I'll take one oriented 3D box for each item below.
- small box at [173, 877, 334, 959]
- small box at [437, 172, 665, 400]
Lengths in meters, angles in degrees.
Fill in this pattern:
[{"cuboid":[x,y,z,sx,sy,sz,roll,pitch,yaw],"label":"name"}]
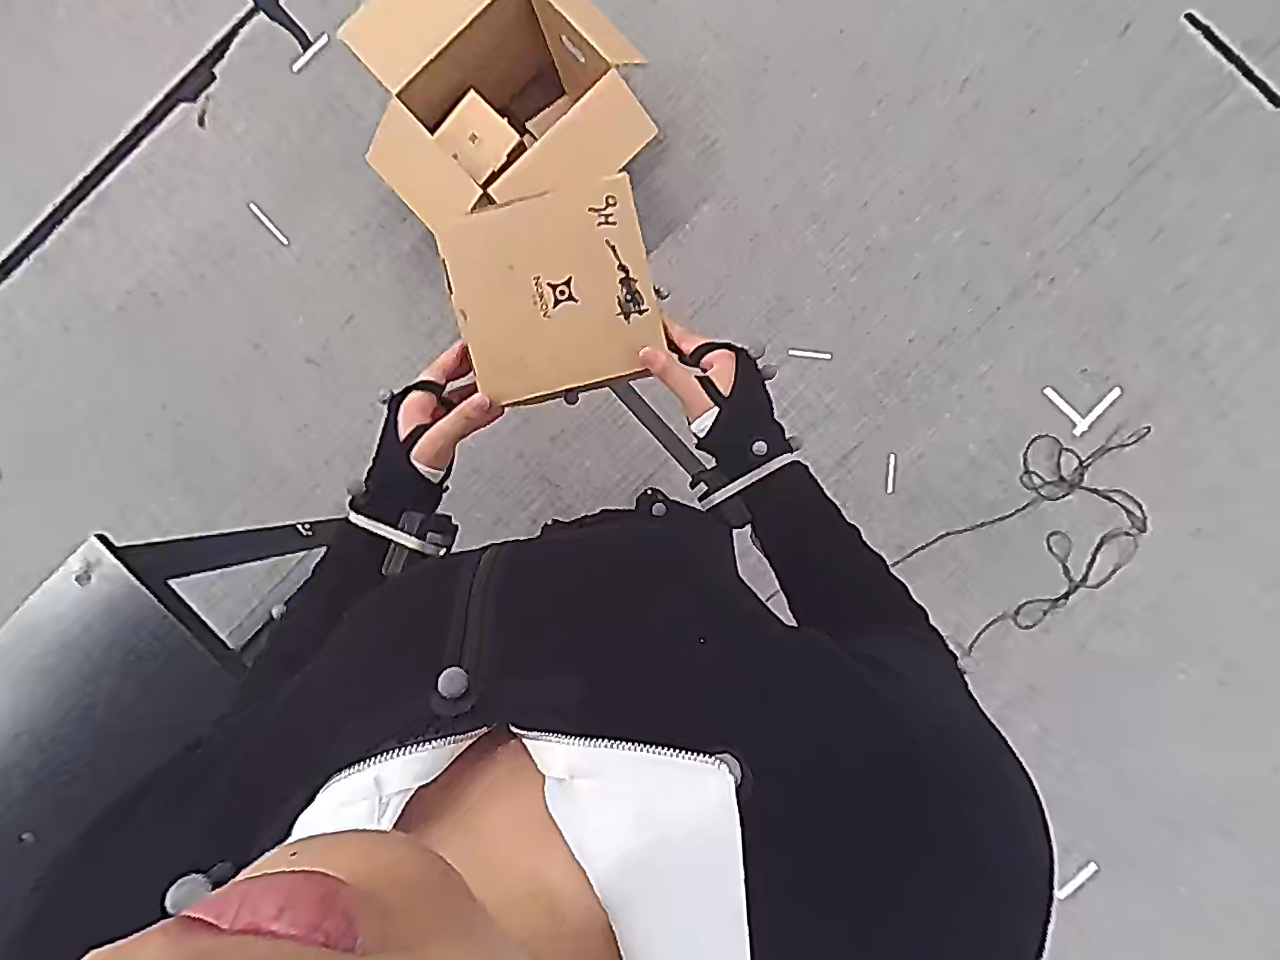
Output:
[{"cuboid":[-0.556,0.692,0.713,0.179,0.176,0.168,-43,90,1],"label":"small box"},{"cuboid":[-0.074,-0.178,0.554,0.179,0.176,0.168,-13,99,4],"label":"small box"}]
